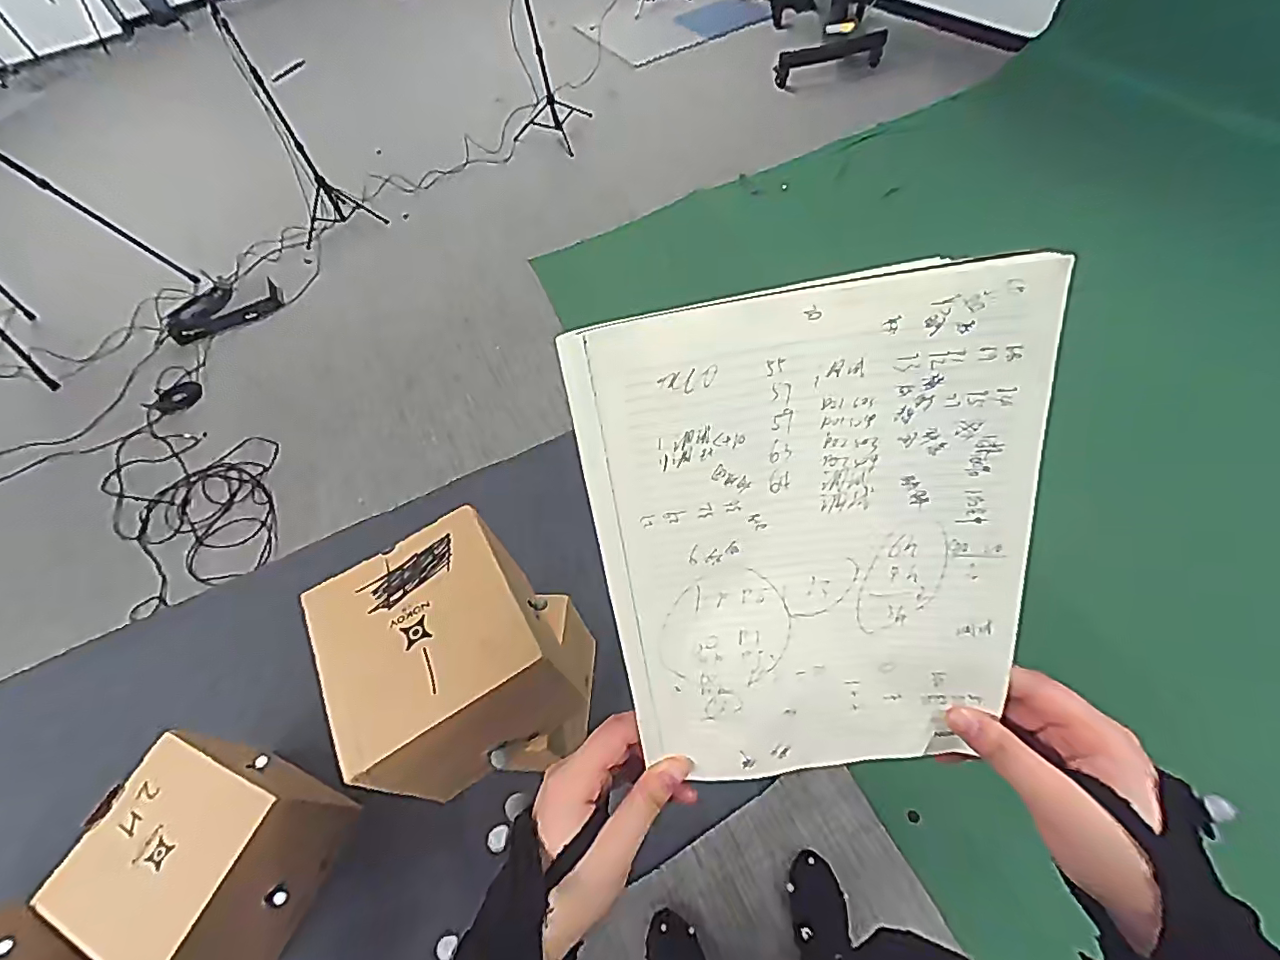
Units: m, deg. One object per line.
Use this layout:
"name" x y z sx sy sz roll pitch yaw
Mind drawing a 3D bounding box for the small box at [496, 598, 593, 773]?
"small box" -0.161 0.250 0.651 0.179 0.176 0.168 -3 55 9

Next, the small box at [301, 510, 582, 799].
"small box" -0.176 0.168 0.509 0.168 0.176 0.179 -30 56 -11

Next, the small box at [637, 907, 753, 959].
"small box" 0.098 0.943 1.002 0.176 0.168 0.179 36 38 -2

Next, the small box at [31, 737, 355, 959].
"small box" -0.461 0.408 0.590 0.179 0.176 0.168 15 59 19
